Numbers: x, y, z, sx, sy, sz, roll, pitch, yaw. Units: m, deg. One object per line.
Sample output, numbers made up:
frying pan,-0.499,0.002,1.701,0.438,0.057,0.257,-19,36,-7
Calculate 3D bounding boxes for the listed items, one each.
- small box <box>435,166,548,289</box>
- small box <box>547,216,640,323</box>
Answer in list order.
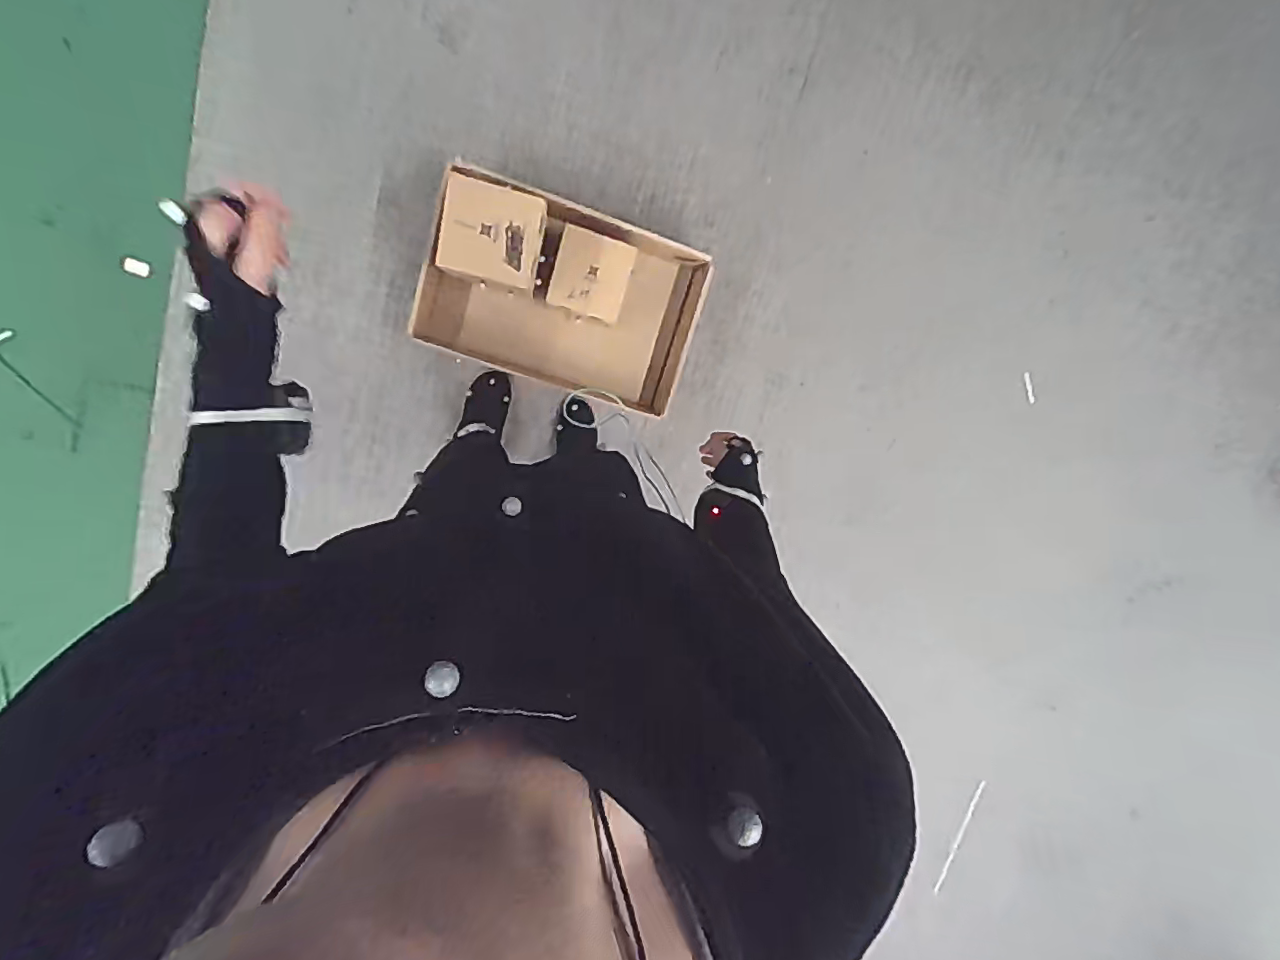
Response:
small box,-0.284,-0.485,1.068,0.179,0.176,0.168,12,102,-10
small box,-0.112,-0.481,1.262,0.168,0.176,0.179,17,101,-10
